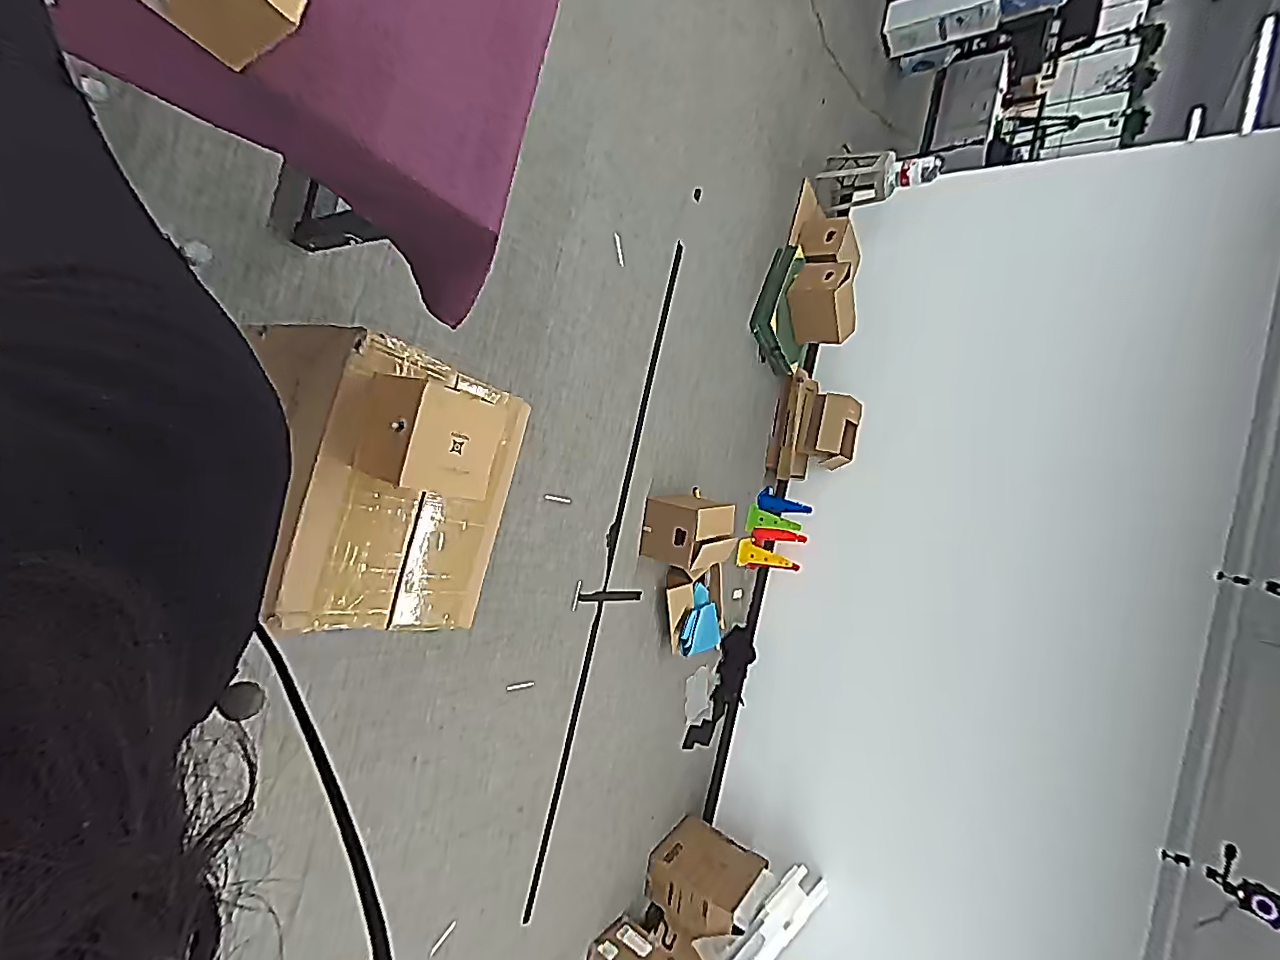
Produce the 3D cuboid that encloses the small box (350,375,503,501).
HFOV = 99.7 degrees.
[{"bbox_3d":[-0.373,-0.075,0.938,0.168,0.176,0.179,17,87,-53],"label":"small box"}]

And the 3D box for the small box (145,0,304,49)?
[{"bbox_3d":[-0.434,-0.566,0.522,0.179,0.176,0.168,25,79,-56],"label":"small box"}]
